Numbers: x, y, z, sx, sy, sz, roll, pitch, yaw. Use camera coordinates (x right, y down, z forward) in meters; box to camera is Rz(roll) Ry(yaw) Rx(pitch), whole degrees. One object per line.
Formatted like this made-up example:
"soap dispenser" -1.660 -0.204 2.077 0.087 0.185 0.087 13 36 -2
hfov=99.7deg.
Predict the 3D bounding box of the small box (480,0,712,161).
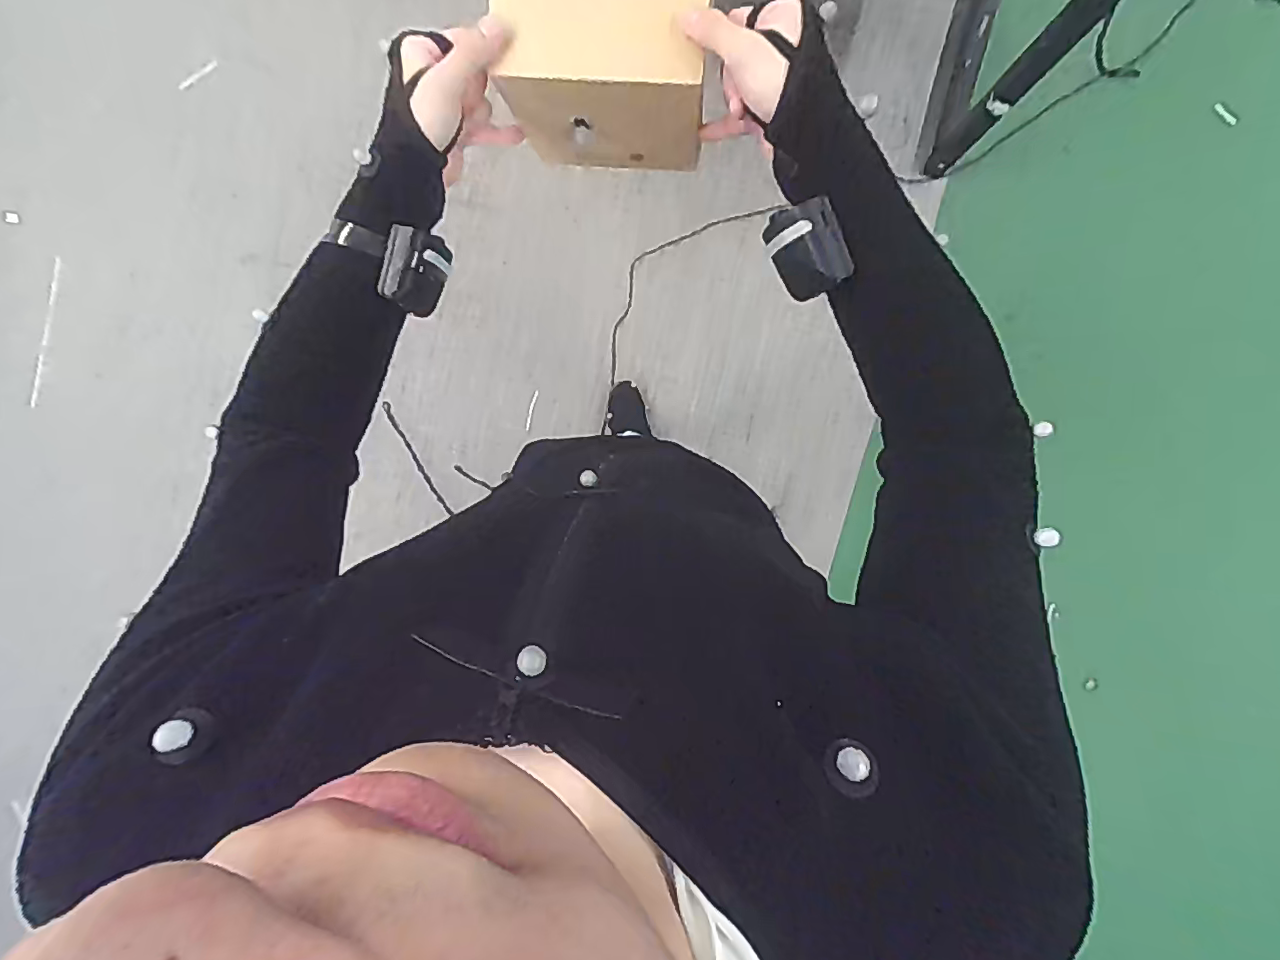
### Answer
"small box" -0.025 -0.398 0.461 0.168 0.176 0.179 5 99 4
